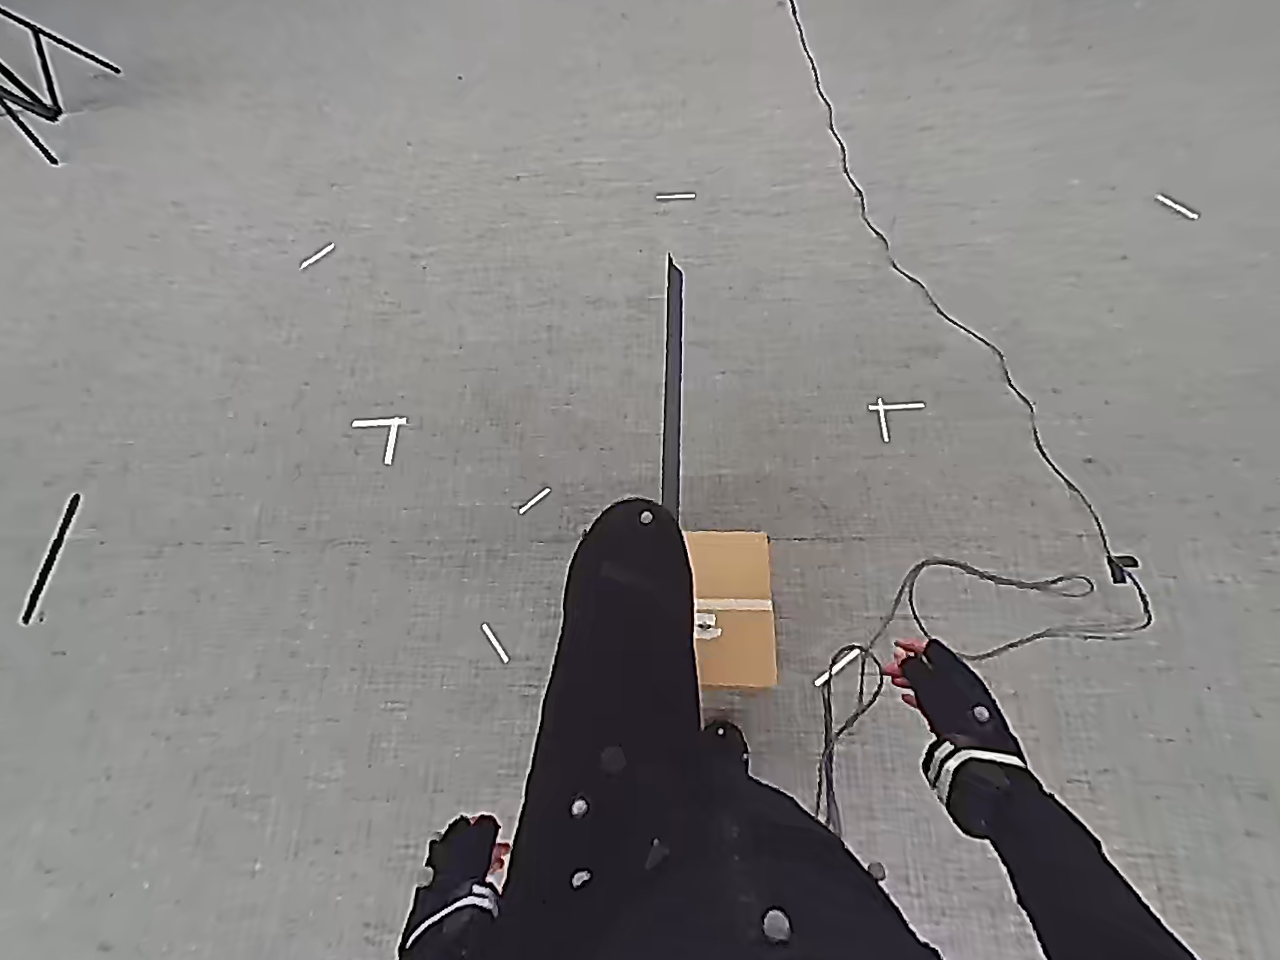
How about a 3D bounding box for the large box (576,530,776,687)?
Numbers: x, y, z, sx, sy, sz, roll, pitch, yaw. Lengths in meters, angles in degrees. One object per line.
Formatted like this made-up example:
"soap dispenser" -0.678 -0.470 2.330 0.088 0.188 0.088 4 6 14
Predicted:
"large box" 0.082 0.312 1.259 0.408 0.320 0.320 0 68 5
